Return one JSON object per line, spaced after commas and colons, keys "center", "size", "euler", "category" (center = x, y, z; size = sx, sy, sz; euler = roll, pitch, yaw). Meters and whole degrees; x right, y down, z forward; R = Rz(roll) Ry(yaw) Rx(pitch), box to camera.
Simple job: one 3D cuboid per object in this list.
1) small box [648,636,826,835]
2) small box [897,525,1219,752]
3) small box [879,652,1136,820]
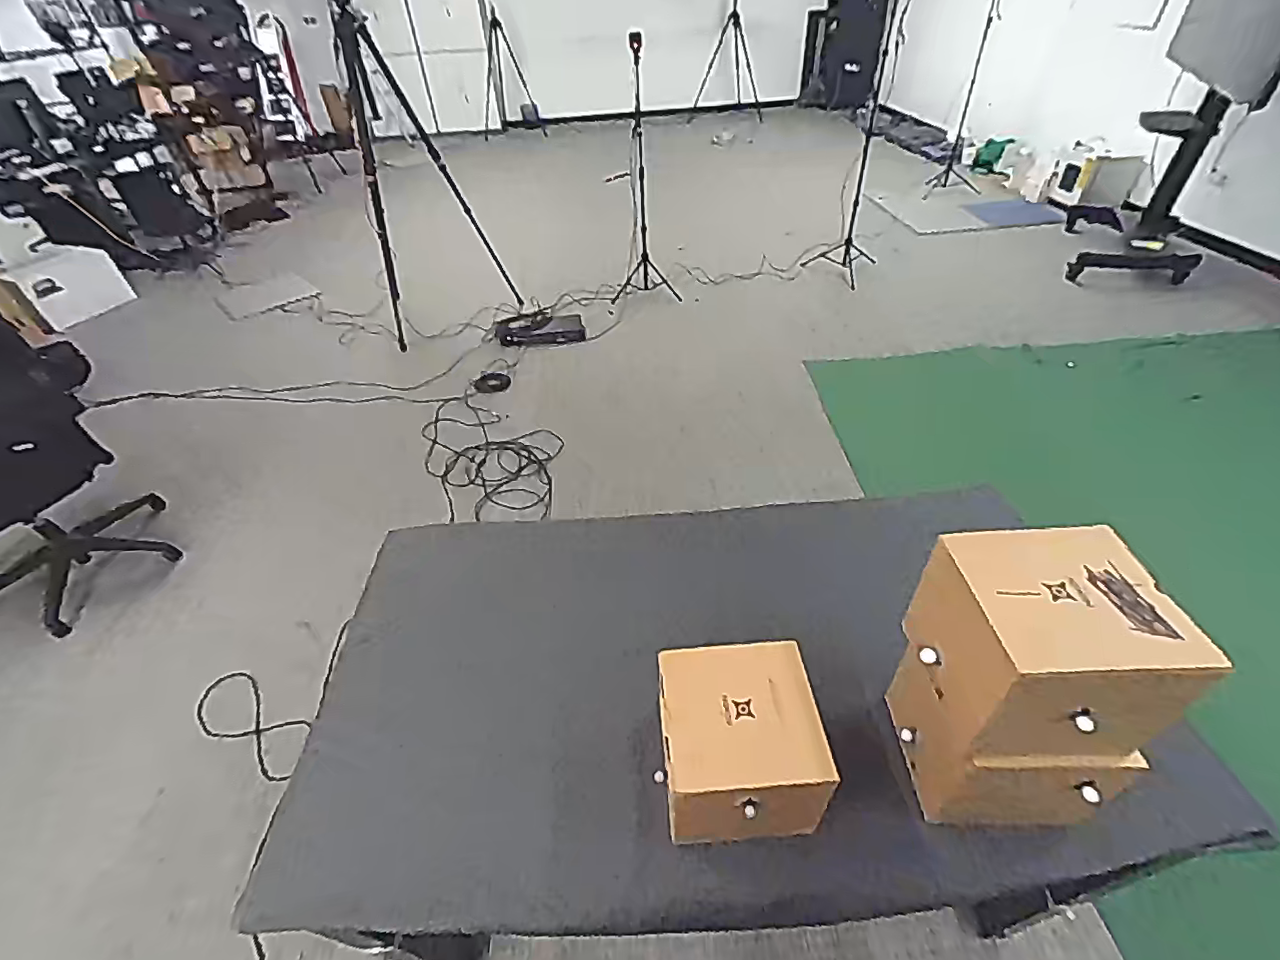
{"center": [0.105, 0.314, 0.662], "size": [0.179, 0.176, 0.168], "euler": [-4, 42, -2], "category": "small box"}
{"center": [0.398, 0.164, 0.559], "size": [0.179, 0.176, 0.168], "euler": [-3, 41, 3], "category": "small box"}
{"center": [0.420, 0.294, 0.658], "size": [0.179, 0.176, 0.168], "euler": [-1, 41, 3], "category": "small box"}
